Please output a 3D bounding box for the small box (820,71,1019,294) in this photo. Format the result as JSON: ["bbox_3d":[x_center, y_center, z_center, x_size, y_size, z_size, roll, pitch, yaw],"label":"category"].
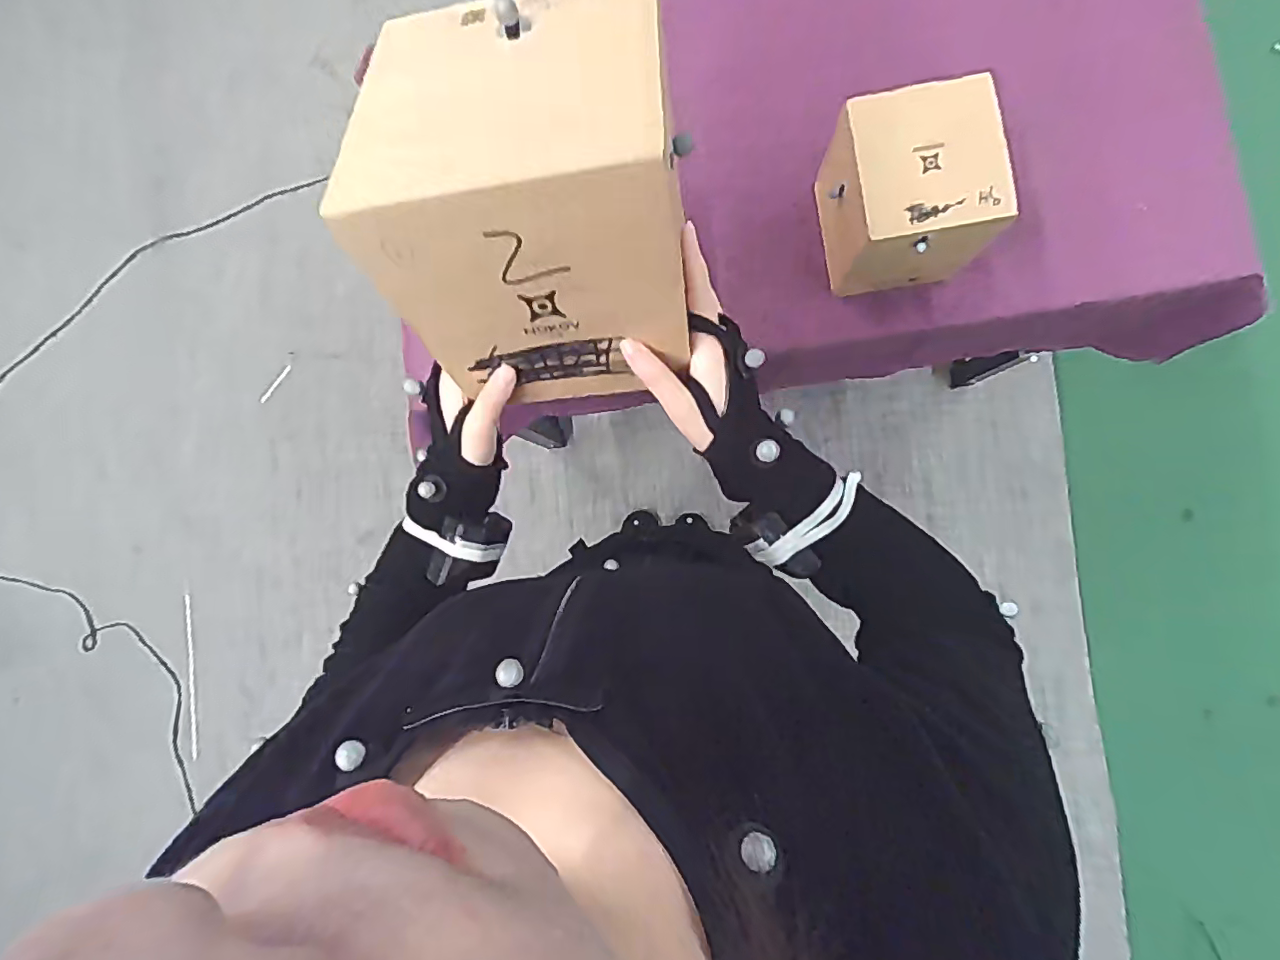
[{"bbox_3d":[0.341,-0.367,0.697,0.168,0.176,0.179,-8,86,6],"label":"small box"}]

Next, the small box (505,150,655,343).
[{"bbox_3d":[-0.072,-0.304,0.737,0.168,0.176,0.179,-7,88,6],"label":"small box"}]
